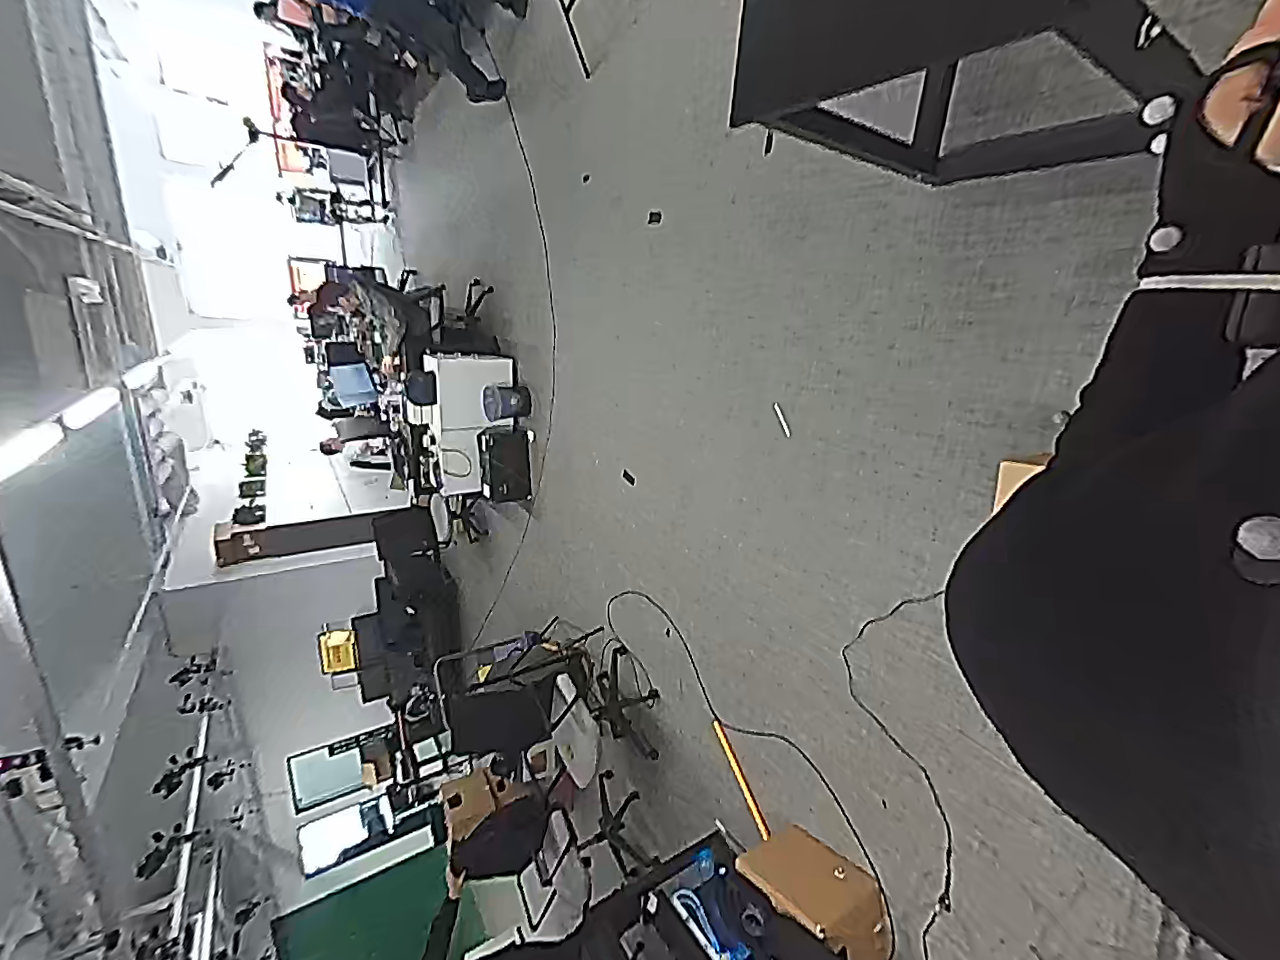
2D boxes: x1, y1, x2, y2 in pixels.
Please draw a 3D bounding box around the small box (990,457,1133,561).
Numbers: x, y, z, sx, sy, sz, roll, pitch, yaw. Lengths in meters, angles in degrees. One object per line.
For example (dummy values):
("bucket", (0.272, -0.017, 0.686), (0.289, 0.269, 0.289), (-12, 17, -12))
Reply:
("small box", (0.855, 0.048, 1.097), (0.179, 0.176, 0.168), (18, 111, 56))
